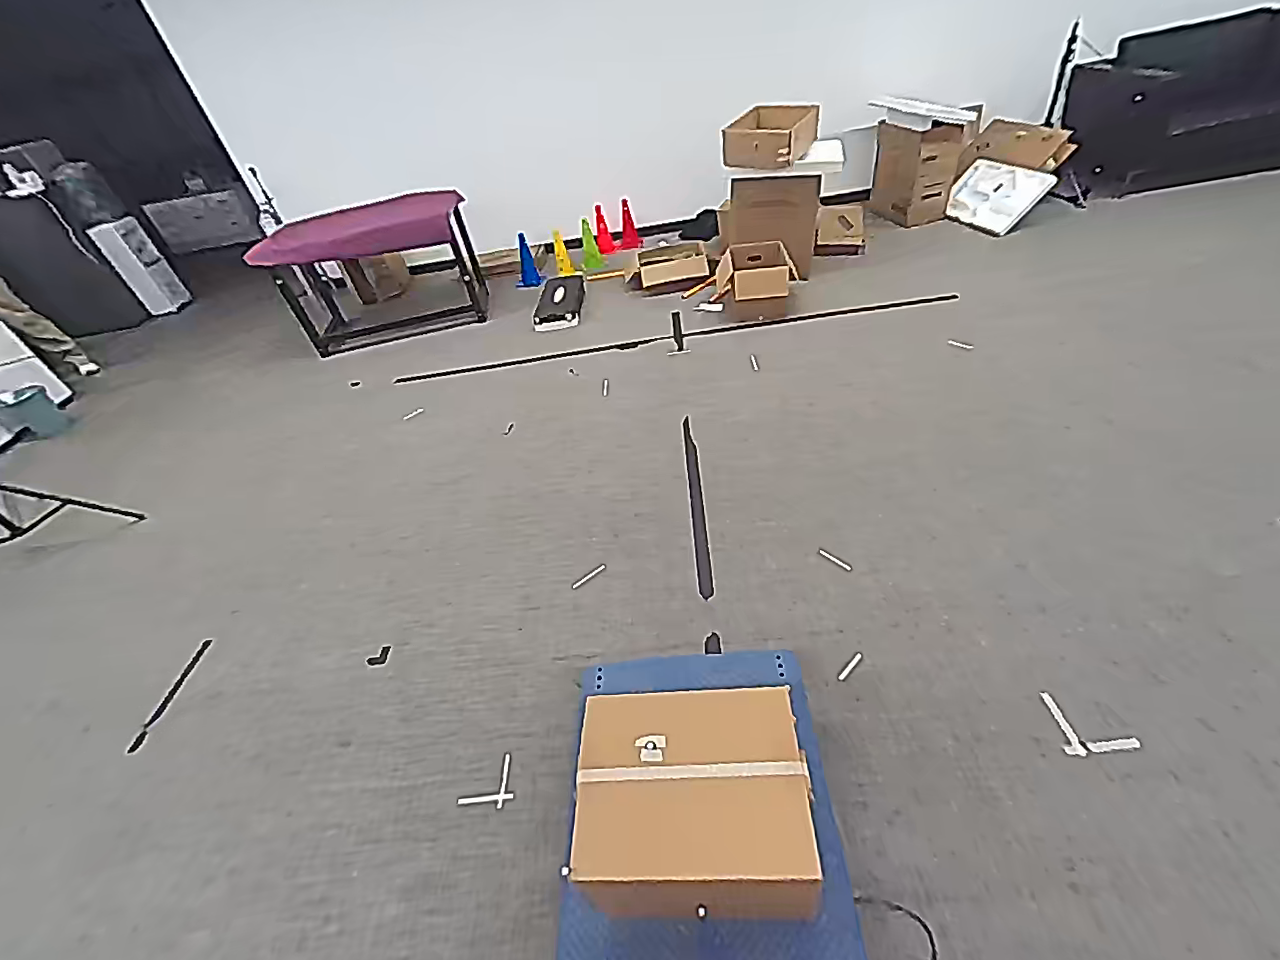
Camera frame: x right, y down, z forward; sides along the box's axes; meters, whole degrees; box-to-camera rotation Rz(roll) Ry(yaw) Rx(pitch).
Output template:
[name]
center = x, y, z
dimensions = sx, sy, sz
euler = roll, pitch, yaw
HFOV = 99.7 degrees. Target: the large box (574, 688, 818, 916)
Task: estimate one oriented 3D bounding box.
[large box]
center = 0.113, 0.648, 1.081
dimensions = 0.408, 0.320, 0.320
euler = -7, 40, 8
